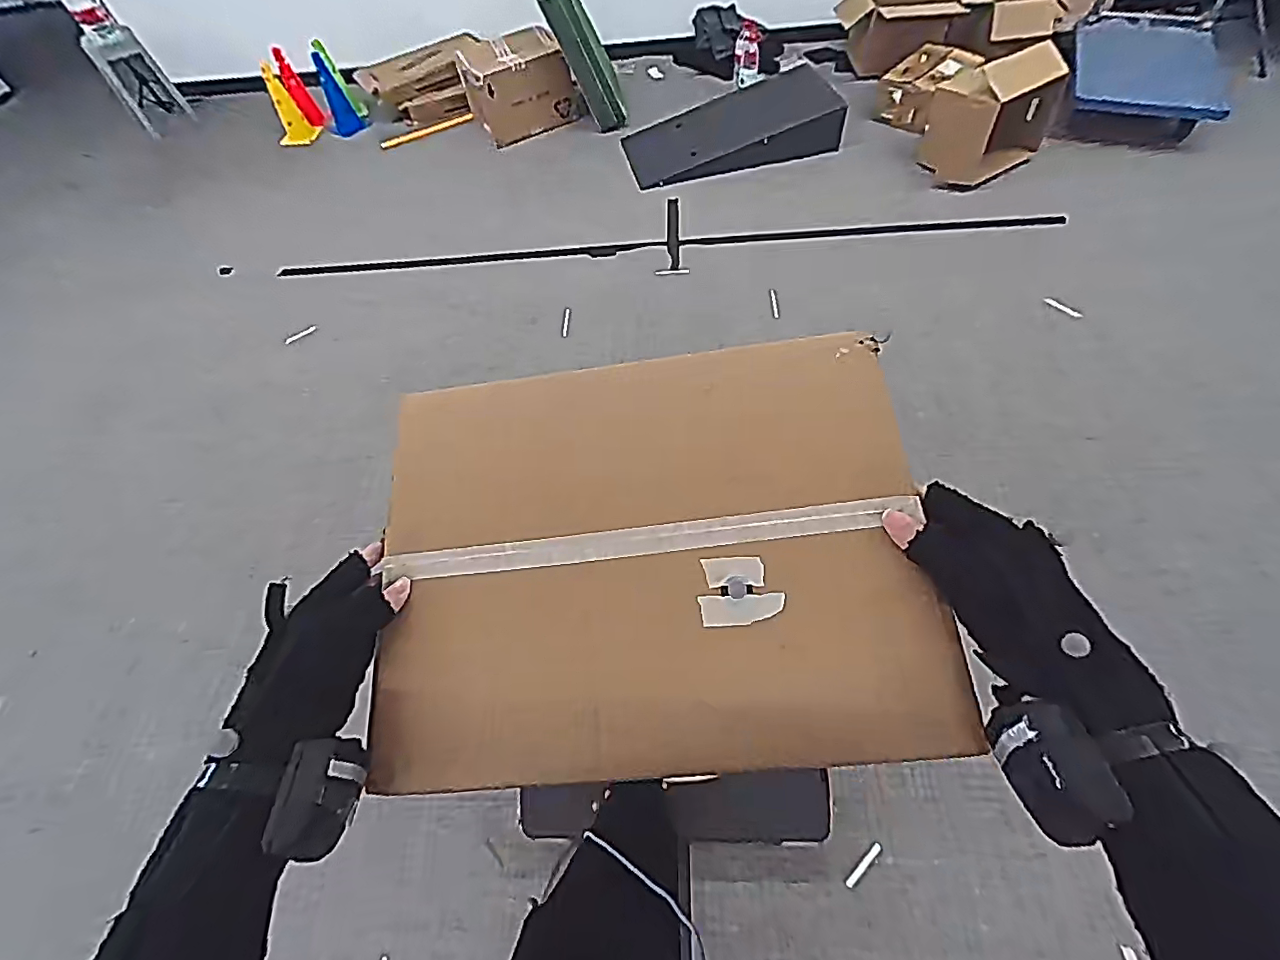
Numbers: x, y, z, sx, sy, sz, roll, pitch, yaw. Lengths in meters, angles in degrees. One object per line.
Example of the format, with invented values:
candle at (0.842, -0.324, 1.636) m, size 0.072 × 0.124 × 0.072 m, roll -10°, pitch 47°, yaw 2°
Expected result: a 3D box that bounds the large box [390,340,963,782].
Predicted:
large box at (0.021, 0.100, 0.560) m, size 0.408 × 0.320 × 0.320 m, roll -7°, pitch 69°, yaw 5°
